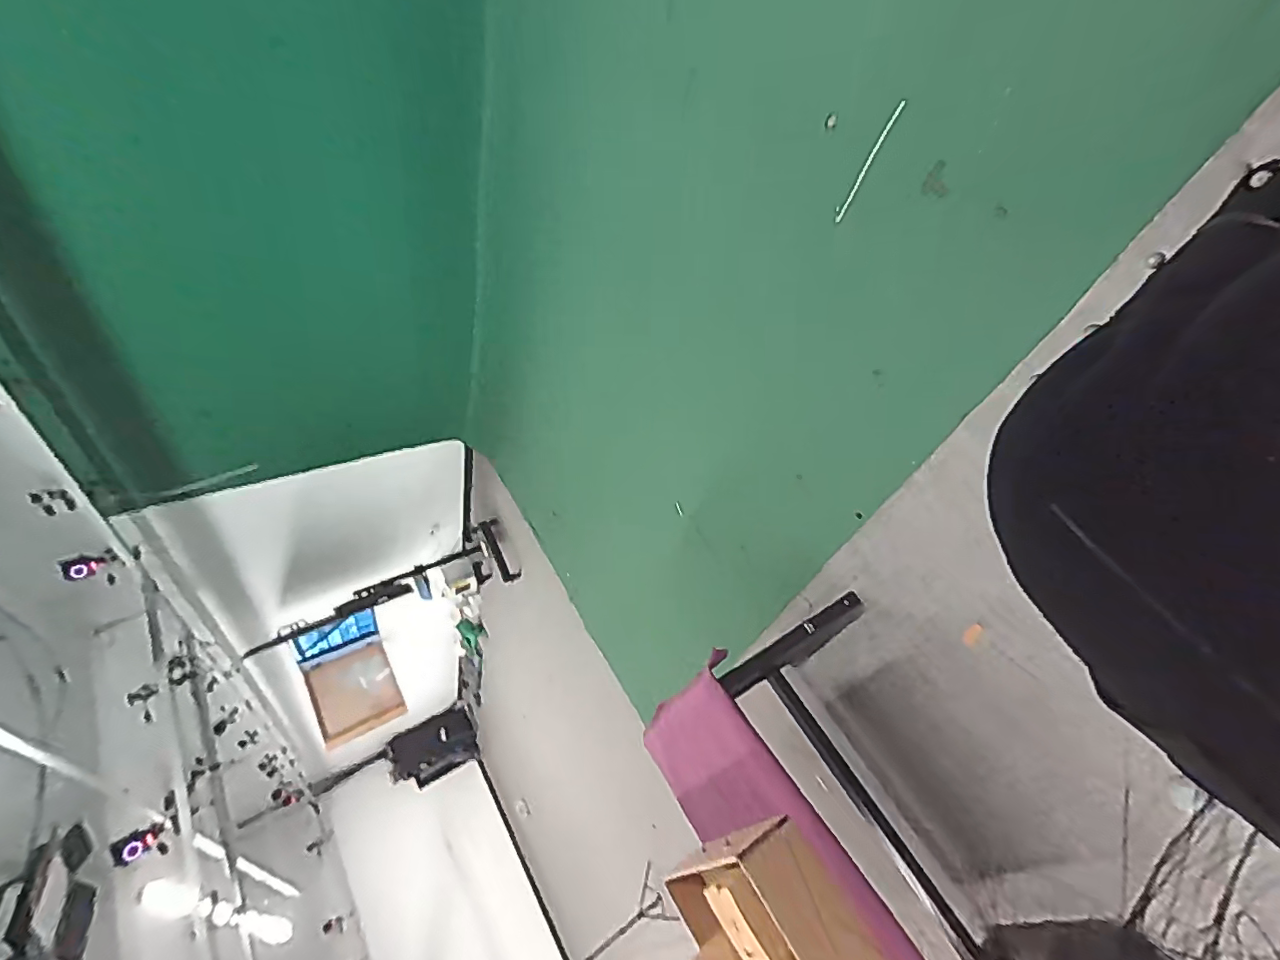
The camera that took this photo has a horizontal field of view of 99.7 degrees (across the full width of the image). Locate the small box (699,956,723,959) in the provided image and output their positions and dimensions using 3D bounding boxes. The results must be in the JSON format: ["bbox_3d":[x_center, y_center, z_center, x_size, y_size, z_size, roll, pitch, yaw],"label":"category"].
[{"bbox_3d":[0.175,1.363,1.378,0.168,0.176,0.179,55,143,24],"label":"small box"}]
